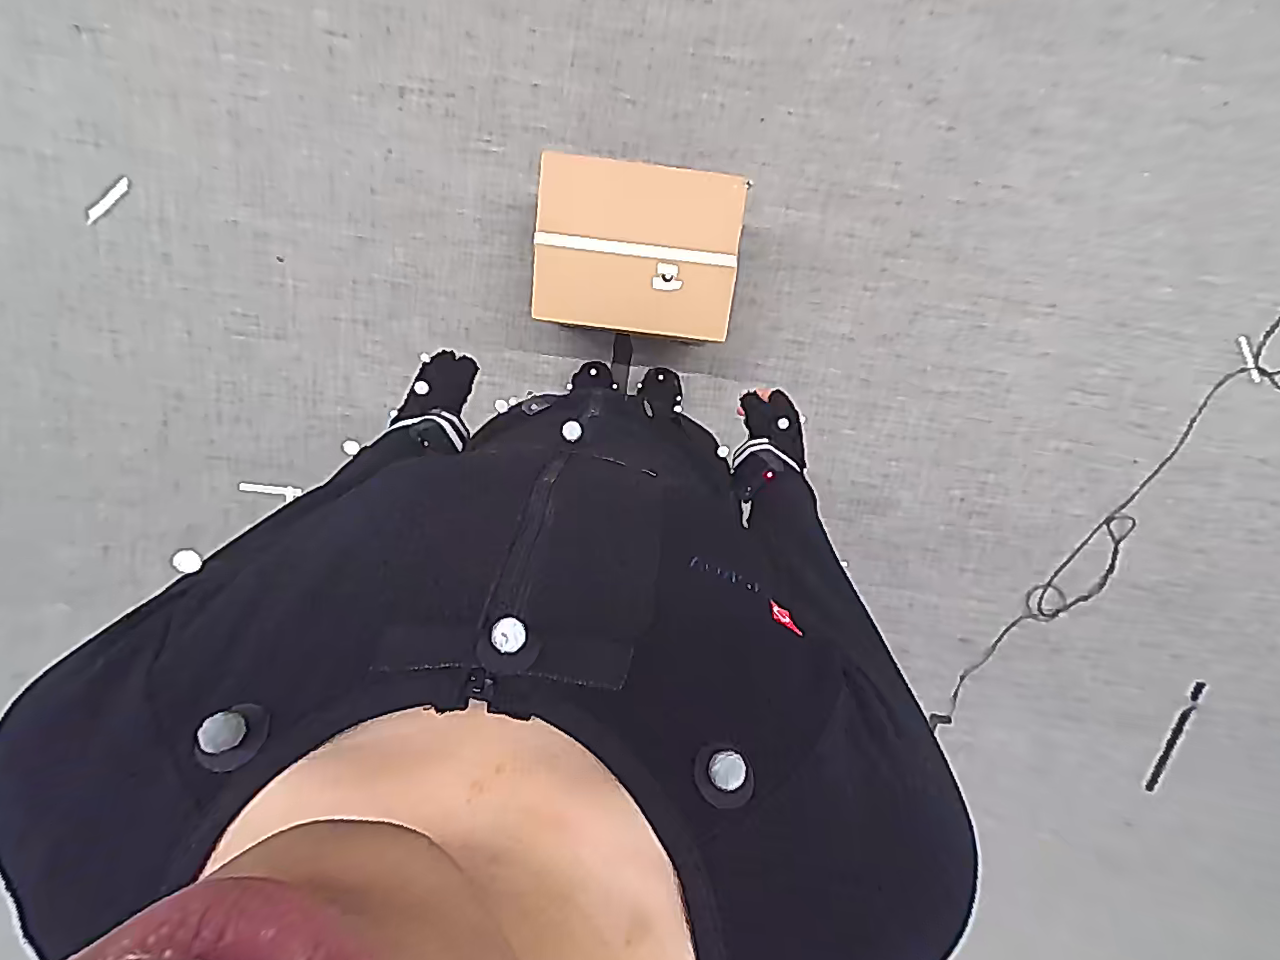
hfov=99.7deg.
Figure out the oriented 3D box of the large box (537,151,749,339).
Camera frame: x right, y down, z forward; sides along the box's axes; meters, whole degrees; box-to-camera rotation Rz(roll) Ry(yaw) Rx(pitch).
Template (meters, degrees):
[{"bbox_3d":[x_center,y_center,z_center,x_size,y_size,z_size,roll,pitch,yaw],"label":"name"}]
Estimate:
[{"bbox_3d":[-0.003,-0.497,1.216,0.408,0.320,0.320,6,104,-2],"label":"large box"}]
